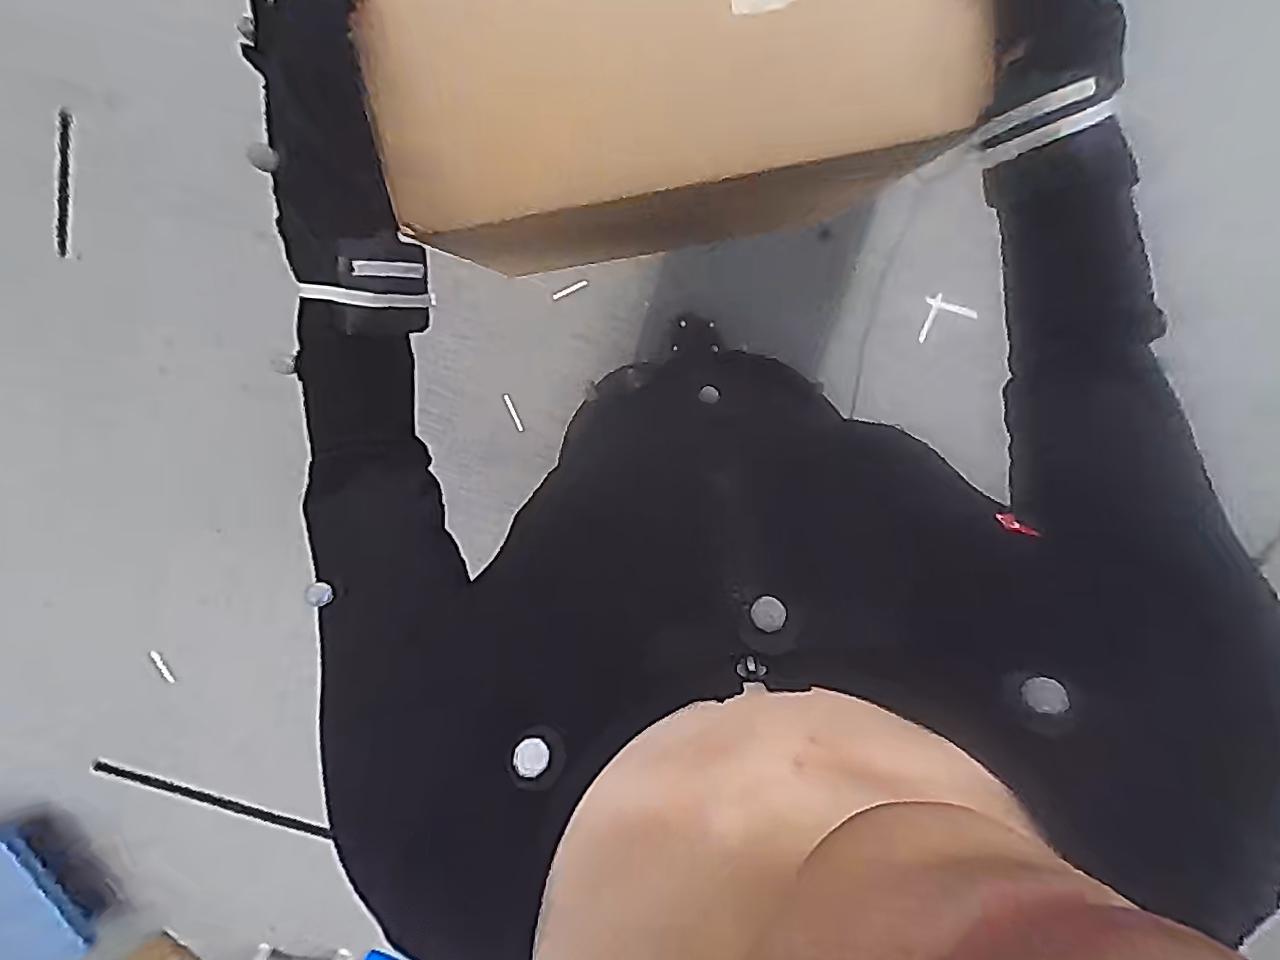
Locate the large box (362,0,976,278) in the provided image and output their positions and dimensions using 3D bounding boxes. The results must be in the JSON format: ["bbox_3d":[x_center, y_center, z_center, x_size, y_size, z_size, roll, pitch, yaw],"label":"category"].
[{"bbox_3d":[0.009,-0.392,0.488,0.408,0.320,0.320,-9,105,2],"label":"large box"}]
